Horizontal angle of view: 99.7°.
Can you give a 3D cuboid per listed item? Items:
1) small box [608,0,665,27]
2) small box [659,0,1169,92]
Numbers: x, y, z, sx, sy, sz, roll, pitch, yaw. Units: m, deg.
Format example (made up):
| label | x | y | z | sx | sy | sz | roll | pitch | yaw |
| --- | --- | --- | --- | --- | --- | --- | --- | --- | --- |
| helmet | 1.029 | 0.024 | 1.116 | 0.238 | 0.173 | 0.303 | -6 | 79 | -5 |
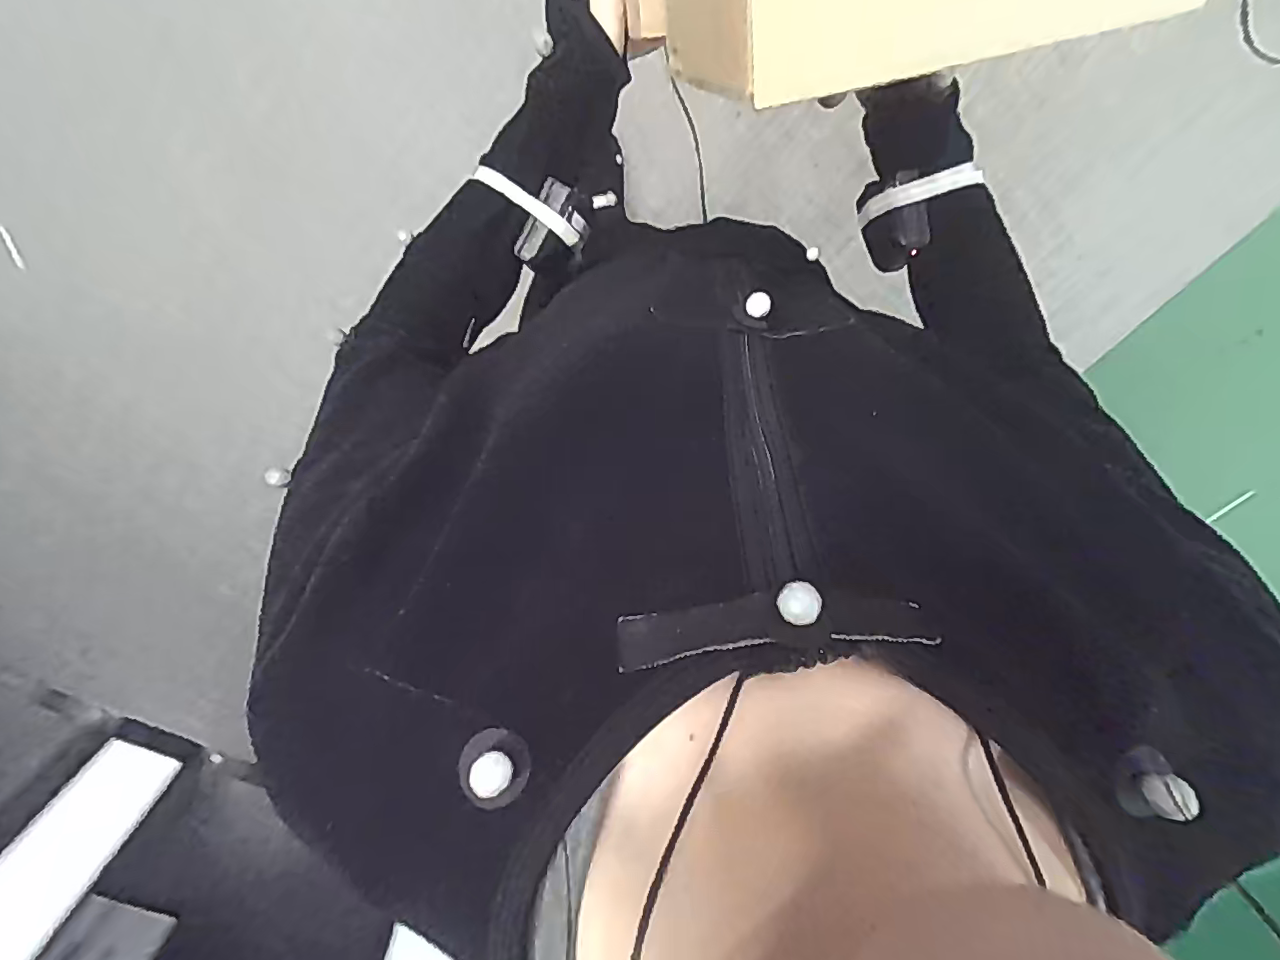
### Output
| label | x | y | z | sx | sy | sz | roll | pitch | yaw |
| --- | --- | --- | --- | --- | --- | --- | --- | --- | --- |
| small box | 0.064 | -0.381 | 0.314 | 0.179 | 0.176 | 0.168 | -9 | 130 | -1 |
| small box | 0.089 | -0.269 | 0.197 | 0.168 | 0.176 | 0.179 | -11 | 129 | 1 |
